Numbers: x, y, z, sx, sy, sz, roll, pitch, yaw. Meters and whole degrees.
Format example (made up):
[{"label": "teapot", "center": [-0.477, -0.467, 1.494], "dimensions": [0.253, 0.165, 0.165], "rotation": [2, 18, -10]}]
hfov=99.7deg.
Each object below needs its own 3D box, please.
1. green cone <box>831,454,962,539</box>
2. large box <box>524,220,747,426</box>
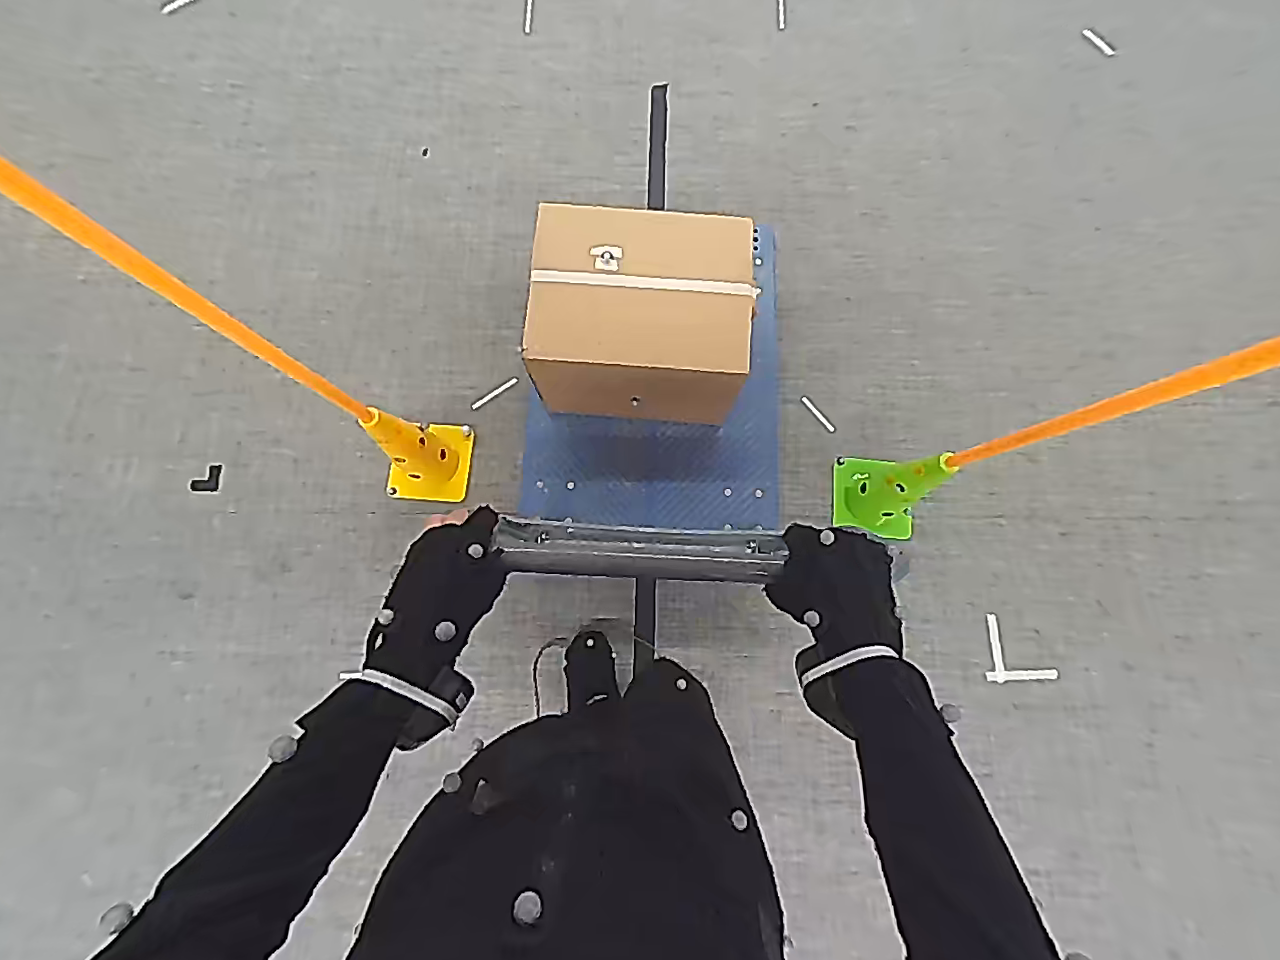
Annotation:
[{"label": "green cone", "center": [0.598, 0.011, 1.226], "dimensions": [0.202, 0.368, 0.200], "rotation": [6, 78, -1]}, {"label": "large box", "center": [-0.001, -0.308, 1.144], "dimensions": [0.408, 0.320, 0.320], "rotation": [4, 79, 1]}]
